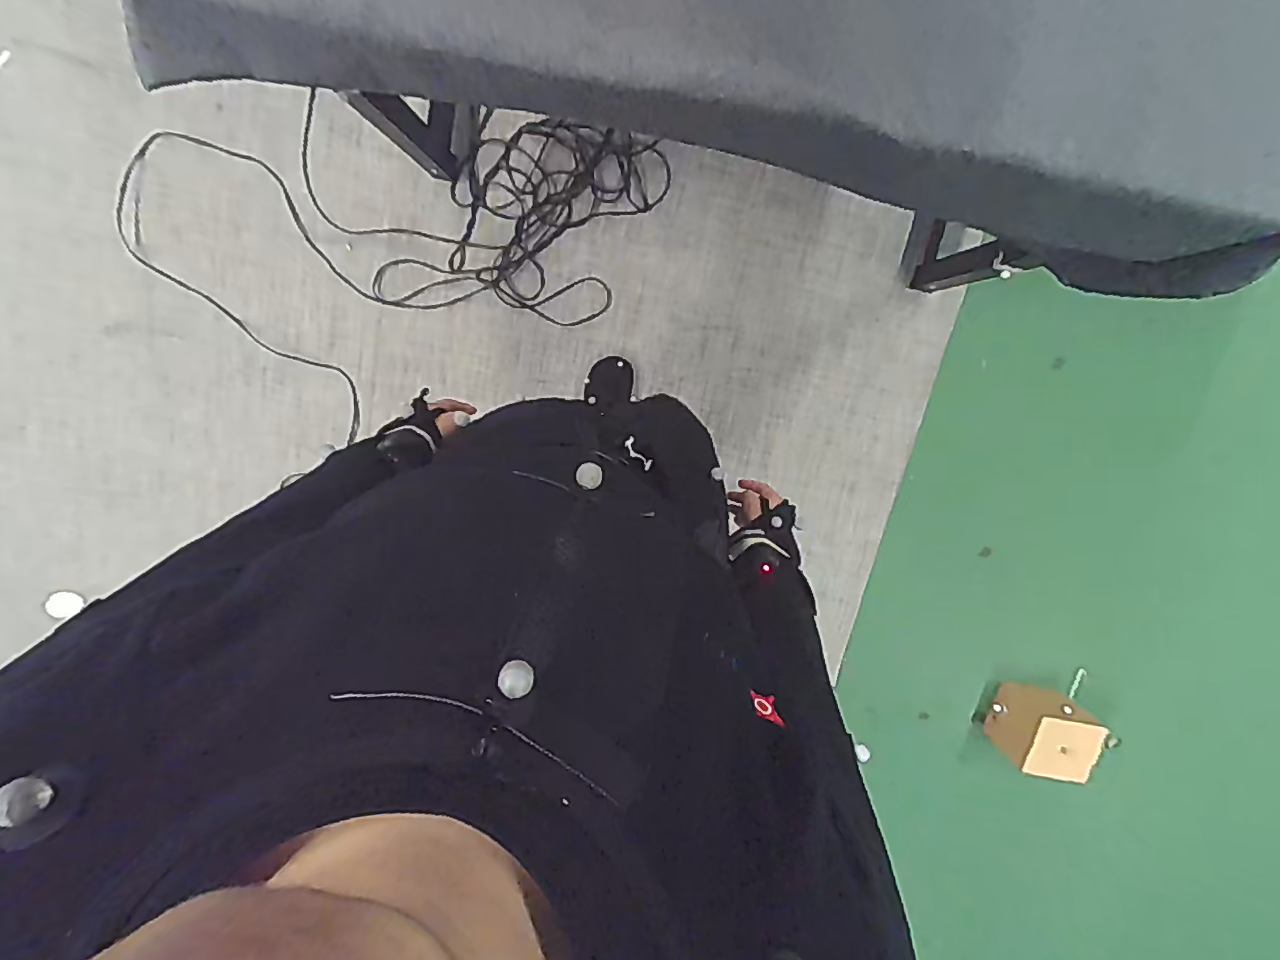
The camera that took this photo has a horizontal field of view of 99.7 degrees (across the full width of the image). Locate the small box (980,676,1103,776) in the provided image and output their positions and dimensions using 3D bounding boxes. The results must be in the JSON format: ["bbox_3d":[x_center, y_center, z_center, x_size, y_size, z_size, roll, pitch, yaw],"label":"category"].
[{"bbox_3d":[1.064,0.651,1.448,0.179,0.176,0.168,11,102,-2],"label":"small box"}]
